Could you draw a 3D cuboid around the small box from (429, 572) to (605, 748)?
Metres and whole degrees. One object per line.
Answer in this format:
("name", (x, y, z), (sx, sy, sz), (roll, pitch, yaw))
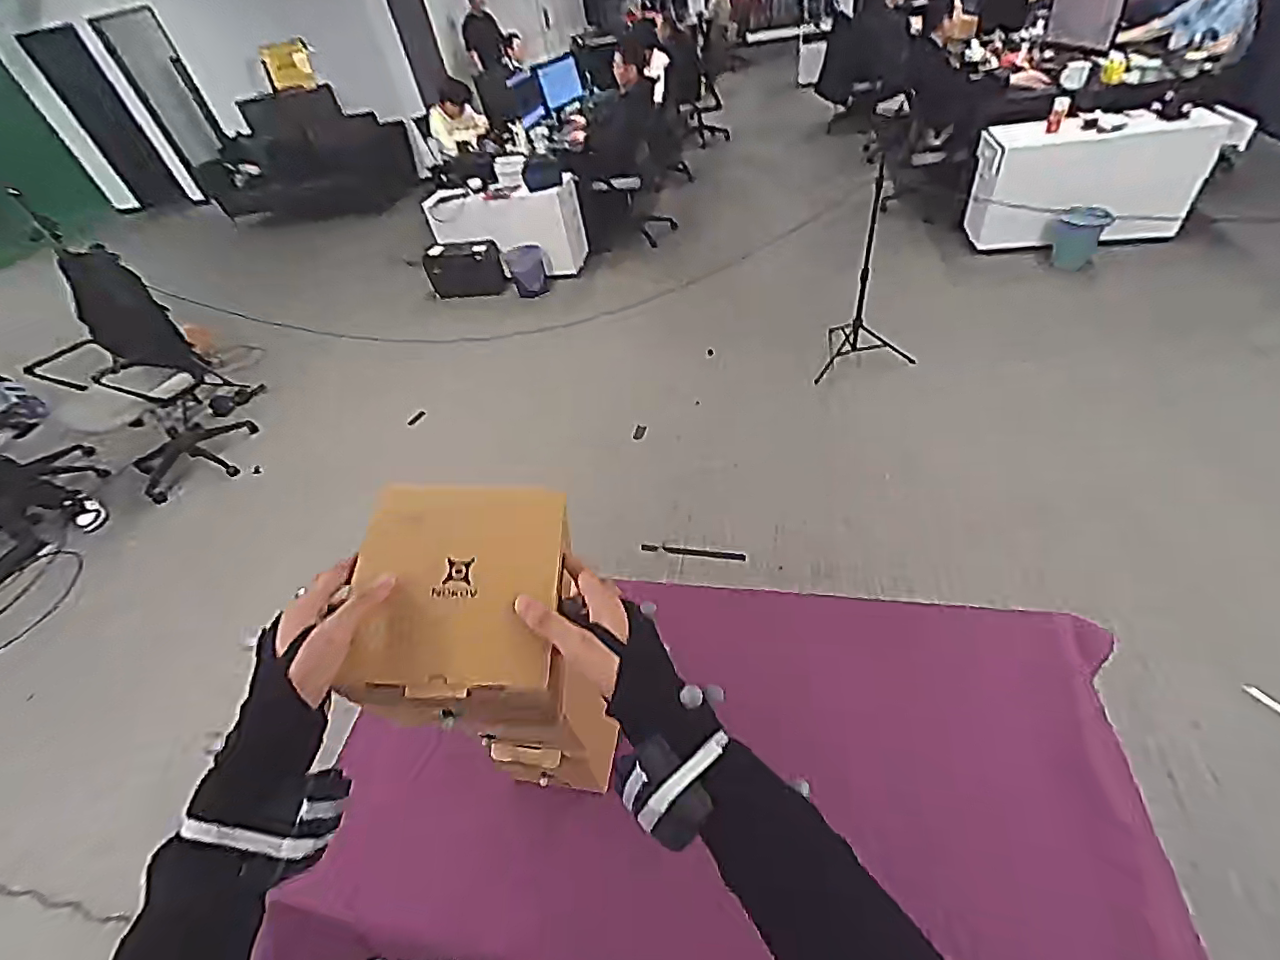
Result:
("small box", (-0.151, 0.246, 0.740), (0.168, 0.176, 0.179), (-1, 44, 10))

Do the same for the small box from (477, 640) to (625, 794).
("small box", (-0.126, 0.364, 0.852), (0.168, 0.176, 0.179), (2, 45, 14))
